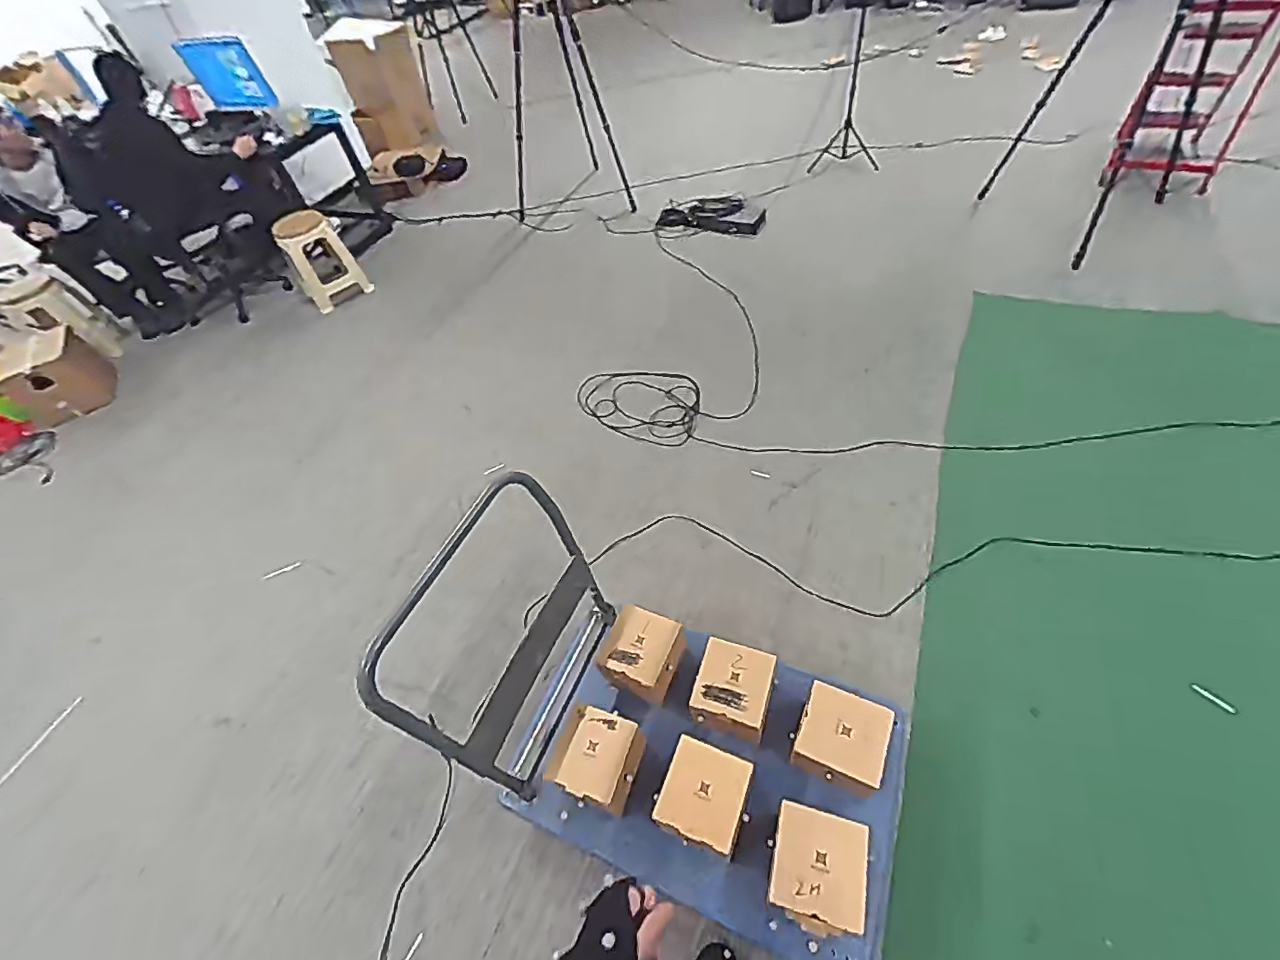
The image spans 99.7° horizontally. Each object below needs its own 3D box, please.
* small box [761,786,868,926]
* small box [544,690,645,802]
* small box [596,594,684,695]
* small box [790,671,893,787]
[{"bbox_3d":[0.348,0.755,1.090,0.168,0.176,0.179,13,56,23],"label":"small box"},{"bbox_3d":[-0.097,0.630,1.273,0.168,0.176,0.179,13,55,19],"label":"small box"},{"bbox_3d":[0.009,0.434,1.413,0.168,0.176,0.179,17,56,22],"label":"small box"},{"bbox_3d":[0.449,0.569,1.226,0.179,0.176,0.168,17,58,23],"label":"small box"}]
